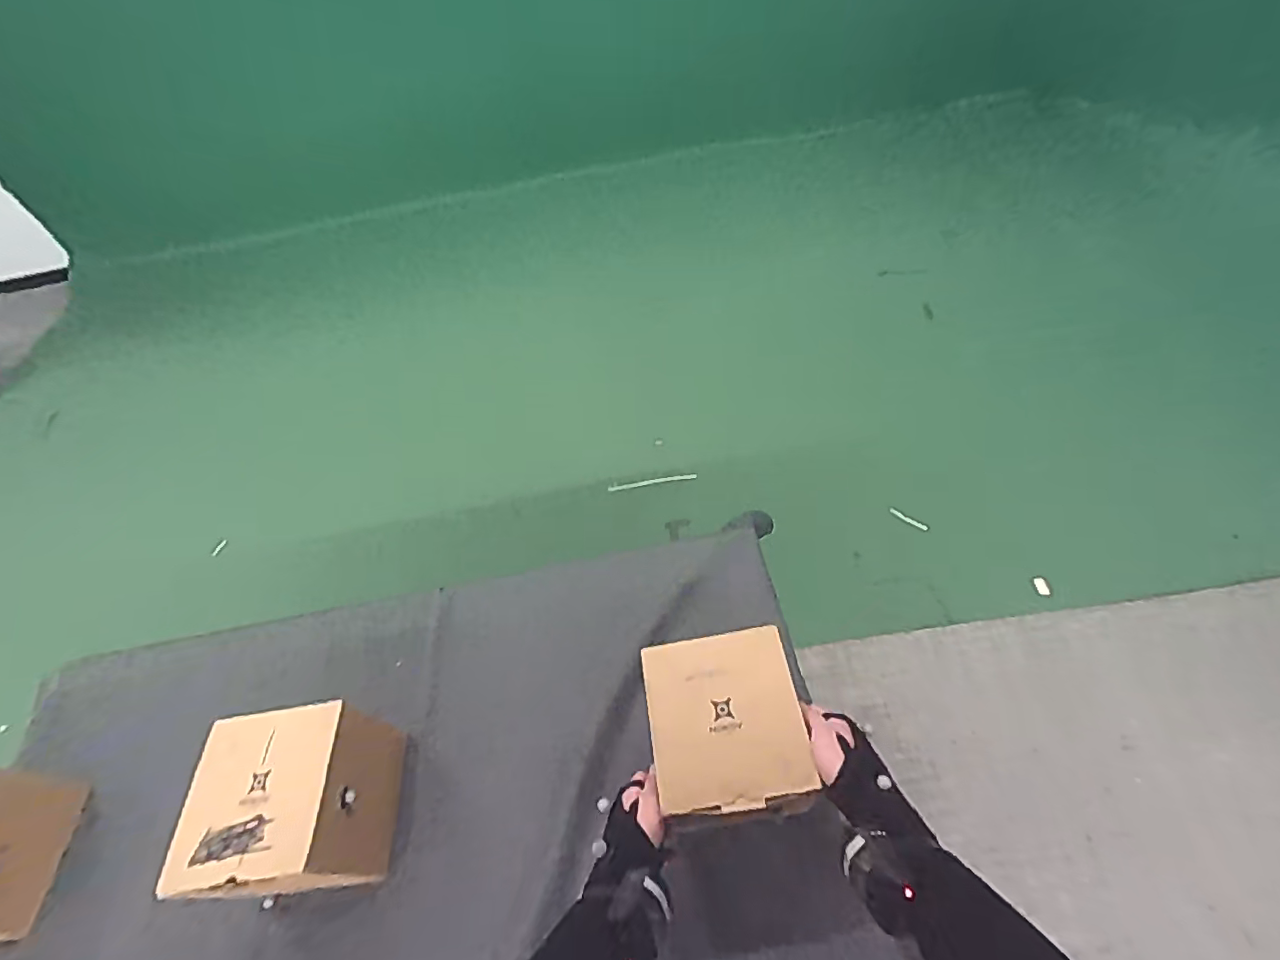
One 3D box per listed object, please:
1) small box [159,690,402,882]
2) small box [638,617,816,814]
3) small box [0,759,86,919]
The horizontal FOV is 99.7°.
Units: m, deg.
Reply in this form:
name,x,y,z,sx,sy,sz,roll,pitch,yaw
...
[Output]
name,x,y,z,sx,sy,sz,roll,pitch,yaw
small box,-0.420,0.381,0.672,0.168,0.176,0.179,-10,53,2
small box,0.098,0.289,0.649,0.168,0.176,0.179,-10,52,1
small box,-0.886,0.465,0.689,0.168,0.176,0.179,-10,54,0
